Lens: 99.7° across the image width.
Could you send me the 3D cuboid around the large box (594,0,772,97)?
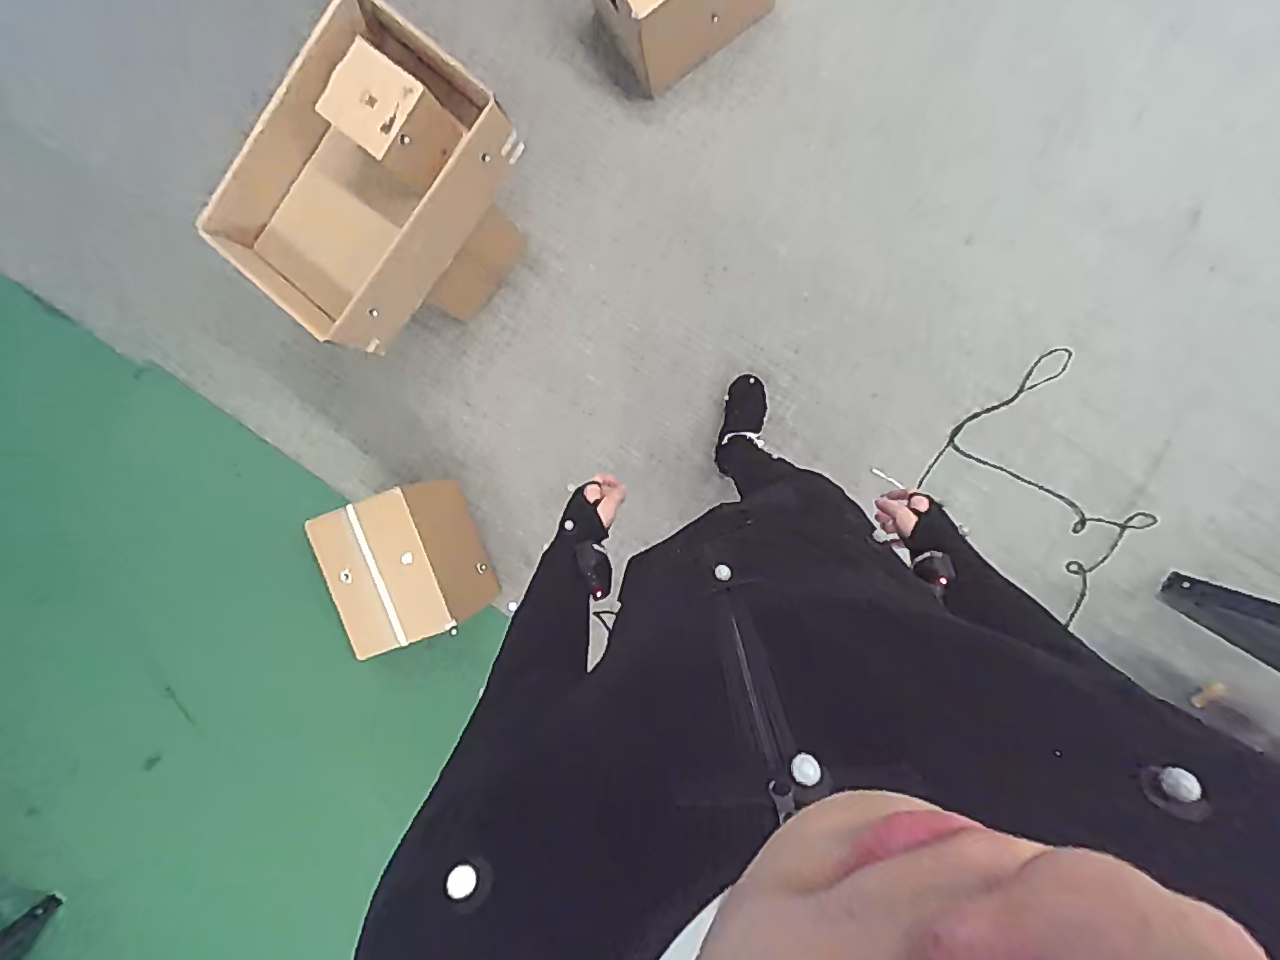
[{"bbox_3d":[0.100,-1.298,1.353,0.408,0.320,0.320,-33,89,10],"label":"large box"}]
